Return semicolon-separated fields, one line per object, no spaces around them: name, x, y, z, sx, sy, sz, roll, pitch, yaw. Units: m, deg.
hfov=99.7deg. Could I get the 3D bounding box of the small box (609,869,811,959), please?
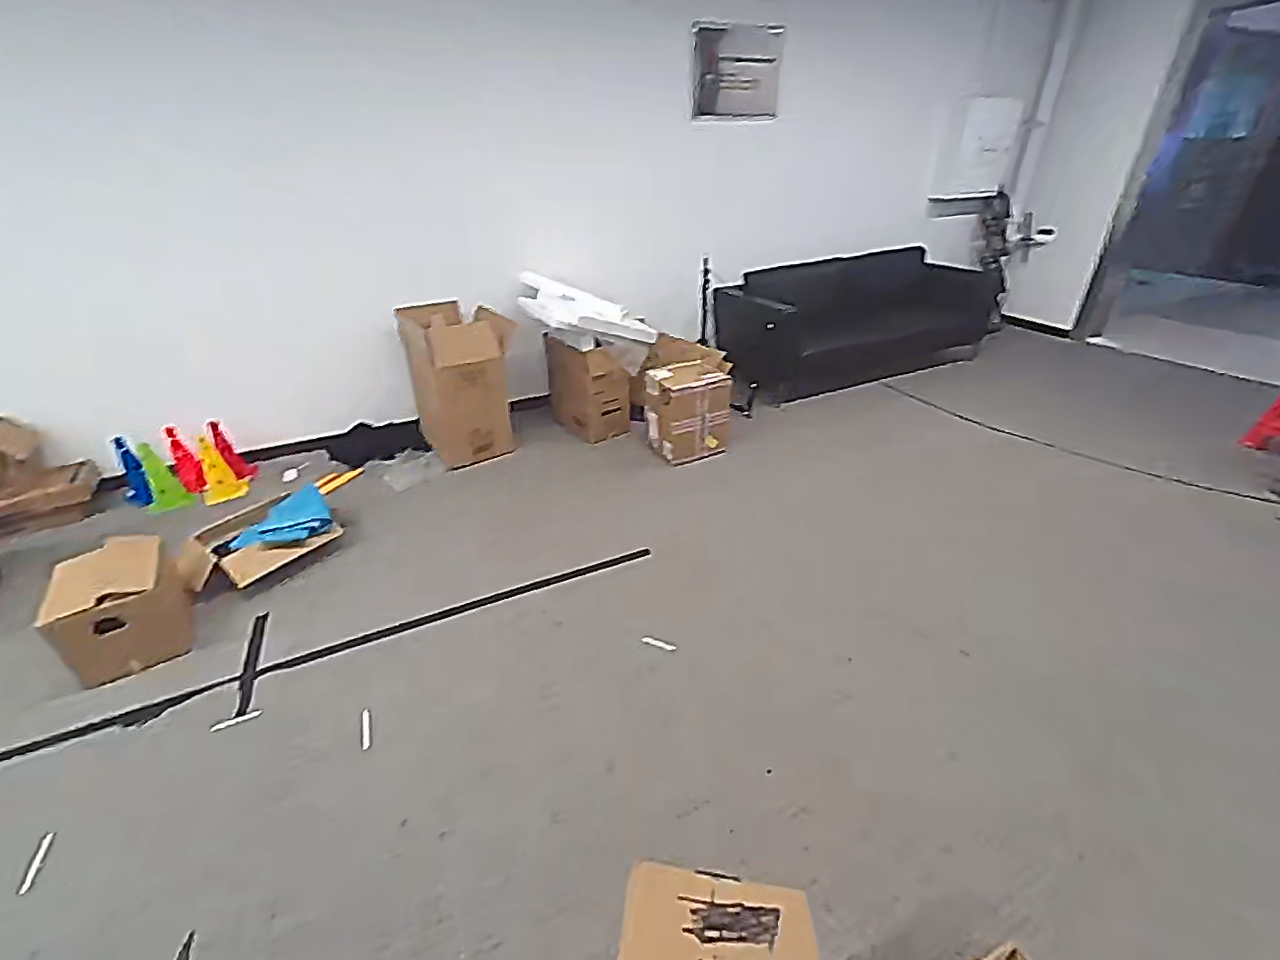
small box;0.046;0.465;0.428;0.168;0.176;0.179;7;11;4
